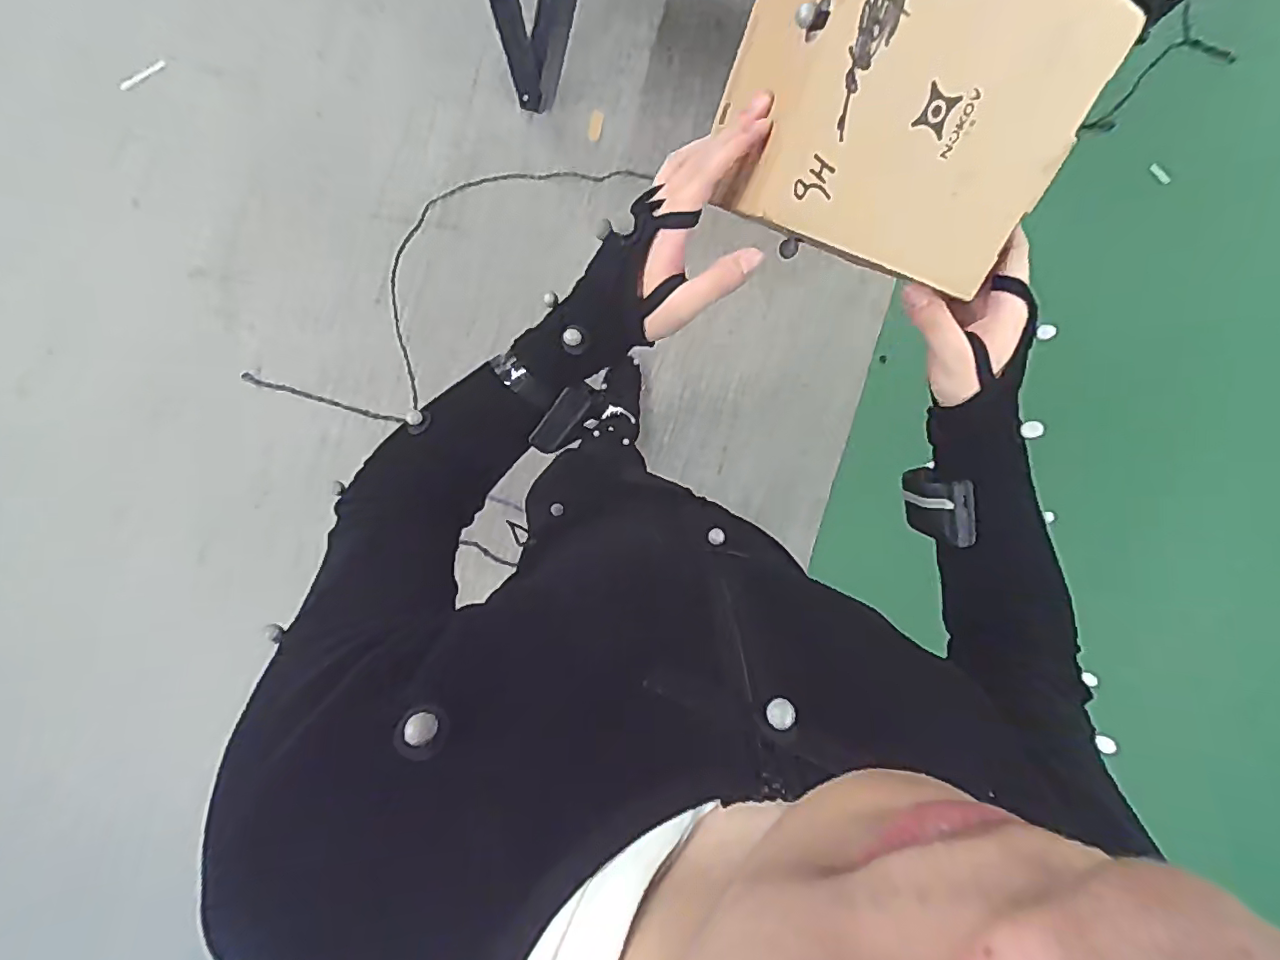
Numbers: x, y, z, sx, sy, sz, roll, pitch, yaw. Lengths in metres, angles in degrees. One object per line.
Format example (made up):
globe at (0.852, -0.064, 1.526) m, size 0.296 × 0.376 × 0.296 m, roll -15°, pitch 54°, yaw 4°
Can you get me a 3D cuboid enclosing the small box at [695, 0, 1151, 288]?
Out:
small box at (0.162, -0.255, 0.372) m, size 0.179 × 0.176 × 0.168 m, roll 12°, pitch 117°, yaw -19°
